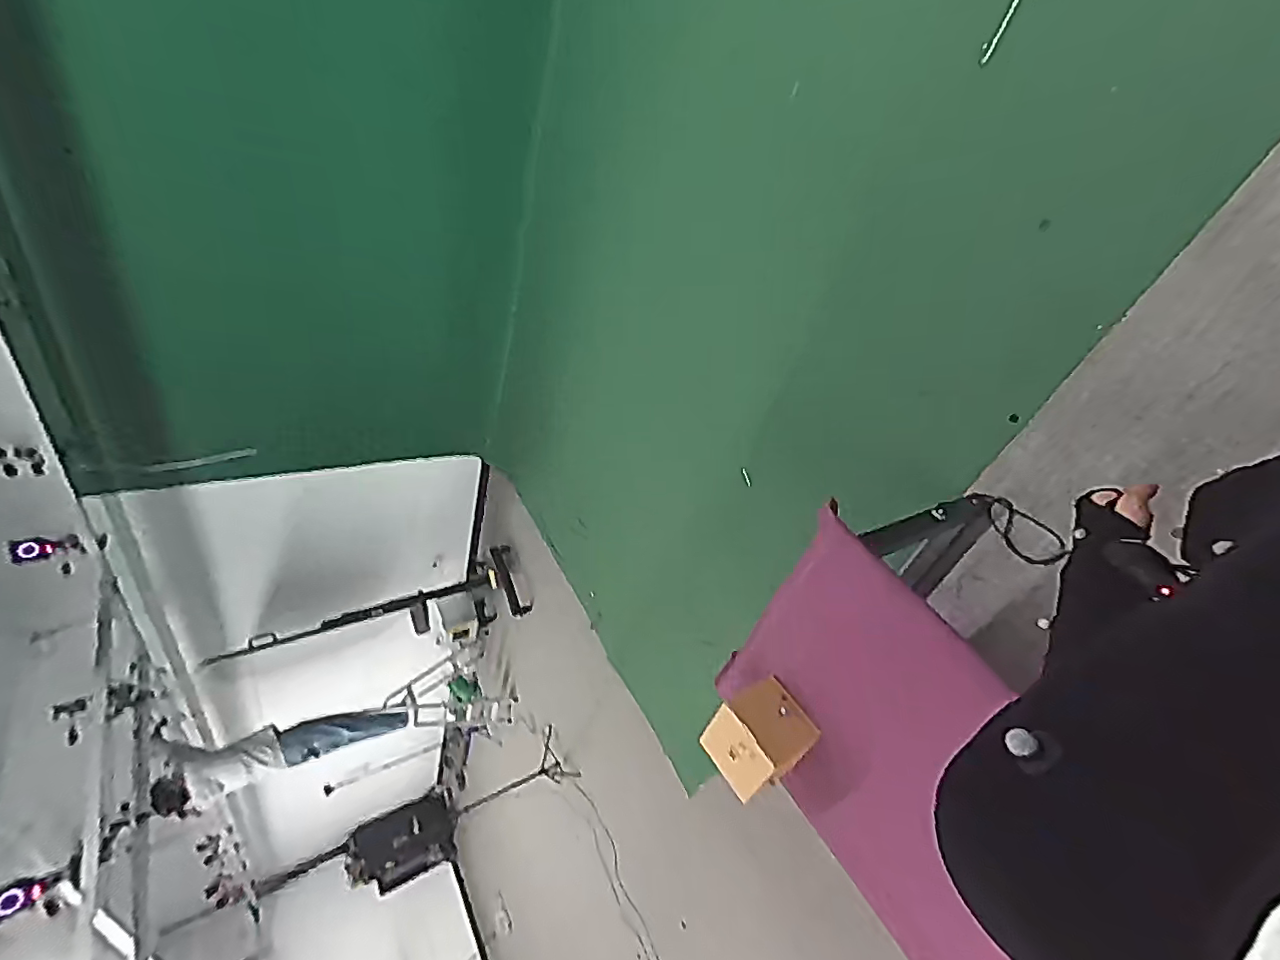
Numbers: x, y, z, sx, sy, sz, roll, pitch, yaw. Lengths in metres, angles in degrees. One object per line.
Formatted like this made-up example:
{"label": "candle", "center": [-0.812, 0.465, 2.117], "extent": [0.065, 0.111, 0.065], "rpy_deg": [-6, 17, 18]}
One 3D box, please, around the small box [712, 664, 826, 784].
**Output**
{"label": "small box", "center": [0.307, 0.573, 1.283], "extent": [0.168, 0.176, 0.179], "rpy_deg": [49, 135, 34]}
